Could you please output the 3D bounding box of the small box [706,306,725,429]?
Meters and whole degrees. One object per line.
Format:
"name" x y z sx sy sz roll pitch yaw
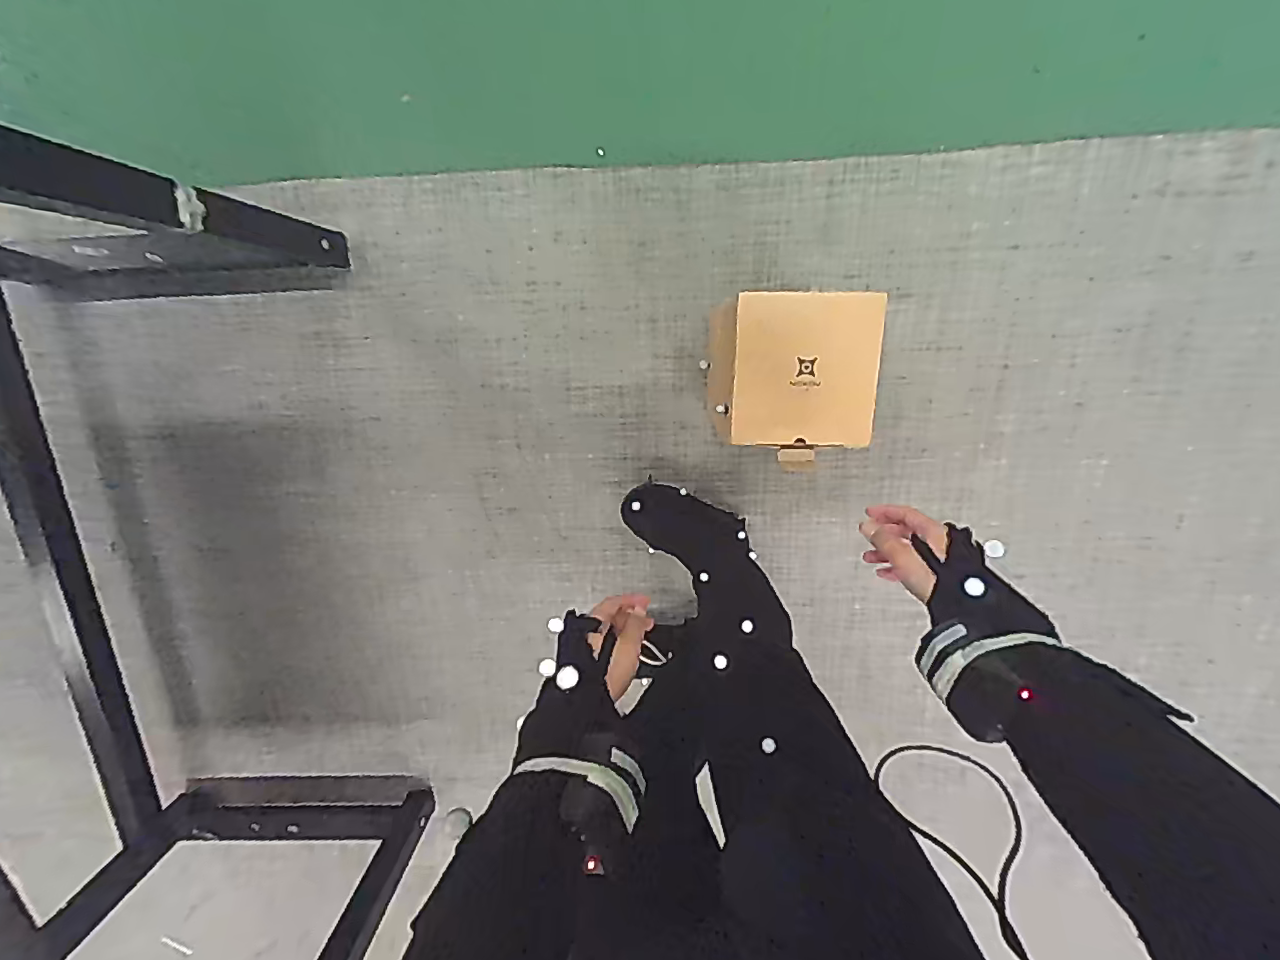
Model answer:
"small box" 0.193 -0.181 0.845 0.168 0.176 0.179 -1 105 2

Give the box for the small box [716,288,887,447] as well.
"small box" 0.189 -0.143 0.685 0.168 0.176 0.179 1 105 2
